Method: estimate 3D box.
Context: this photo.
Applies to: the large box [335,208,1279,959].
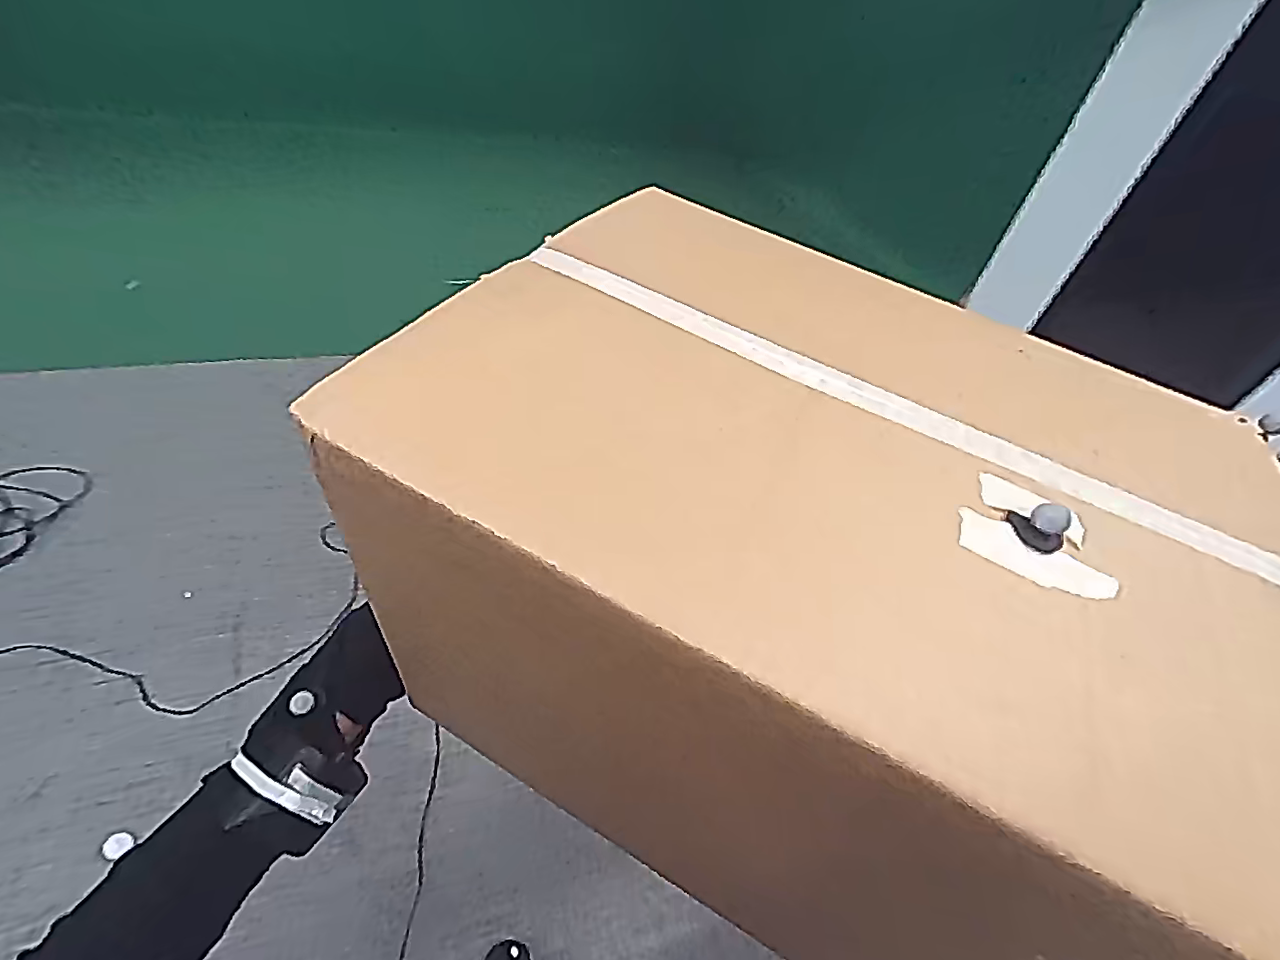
[{"bbox_3d":[0.088,0.069,0.385,0.408,0.320,0.320,27,49,11],"label":"large box"}]
